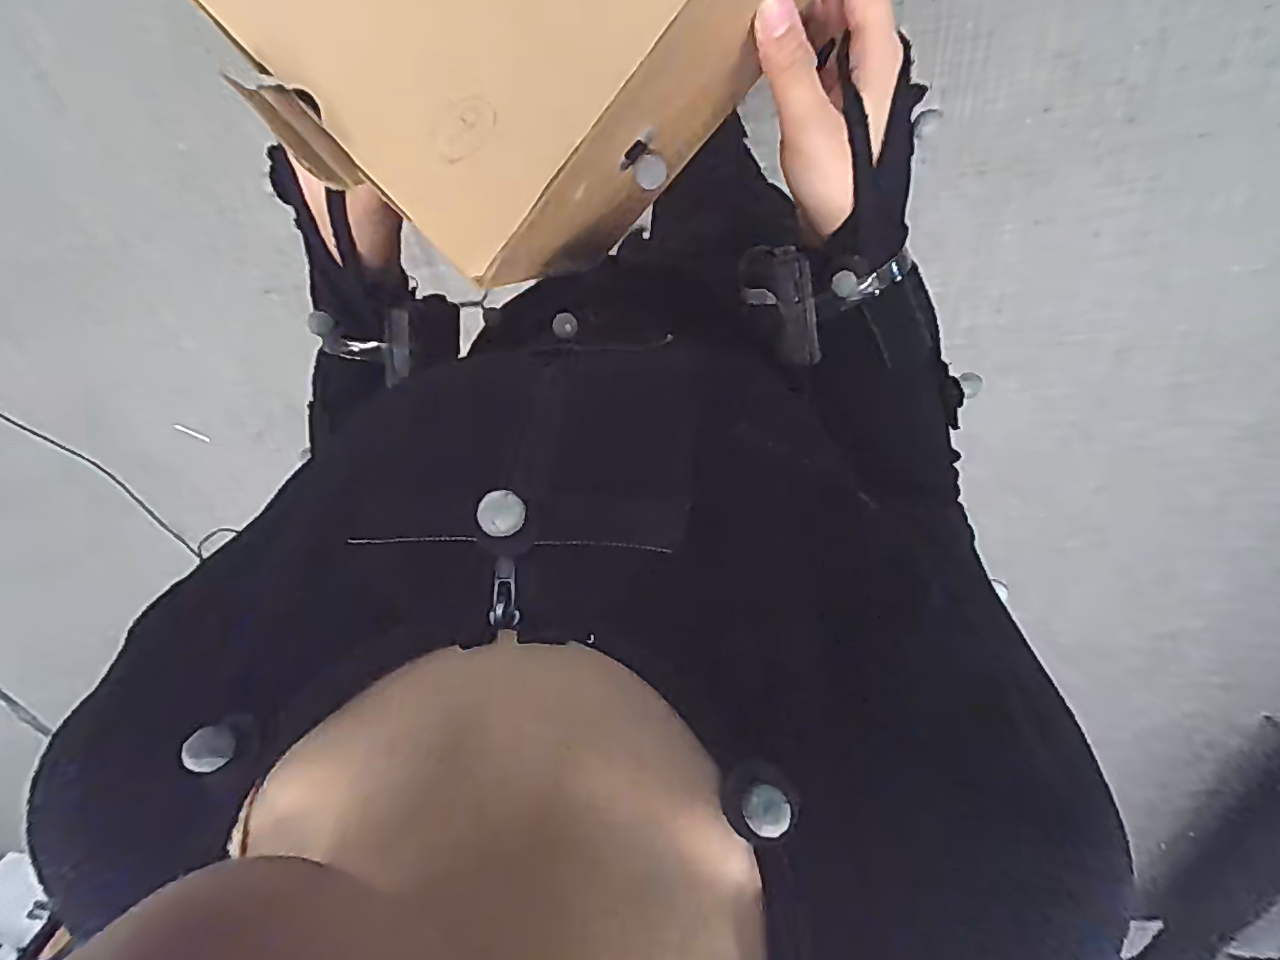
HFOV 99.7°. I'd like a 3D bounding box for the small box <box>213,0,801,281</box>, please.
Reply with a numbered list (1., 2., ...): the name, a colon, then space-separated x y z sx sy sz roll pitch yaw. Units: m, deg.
1. small box: -0.039 -0.217 0.243 0.168 0.176 0.179 44 115 -9
